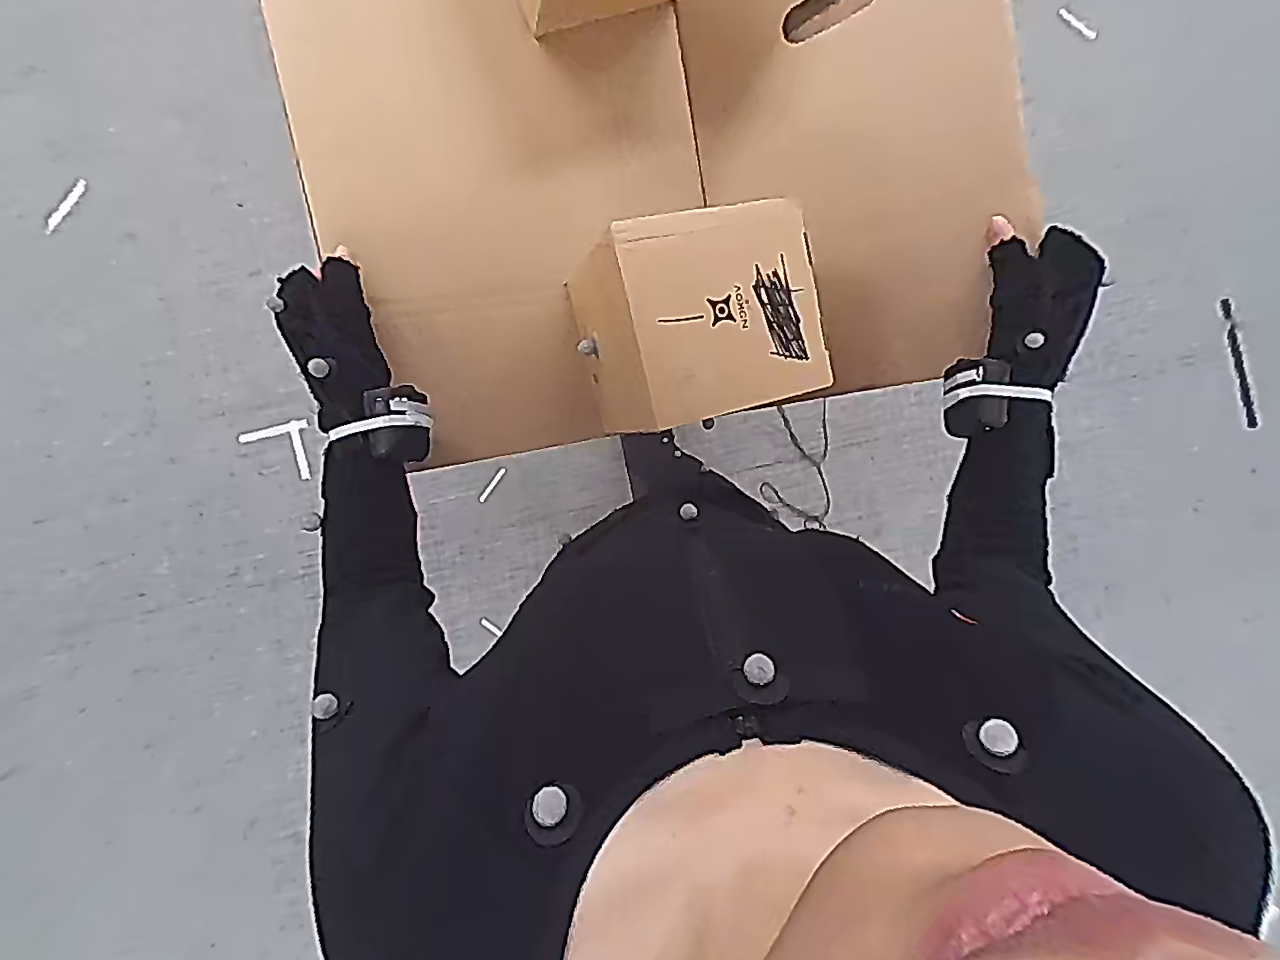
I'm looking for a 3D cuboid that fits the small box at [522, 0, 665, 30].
[{"bbox_3d":[-0.041,-0.549,0.475,0.179,0.176,0.168,-28,102,-16],"label":"small box"}]
